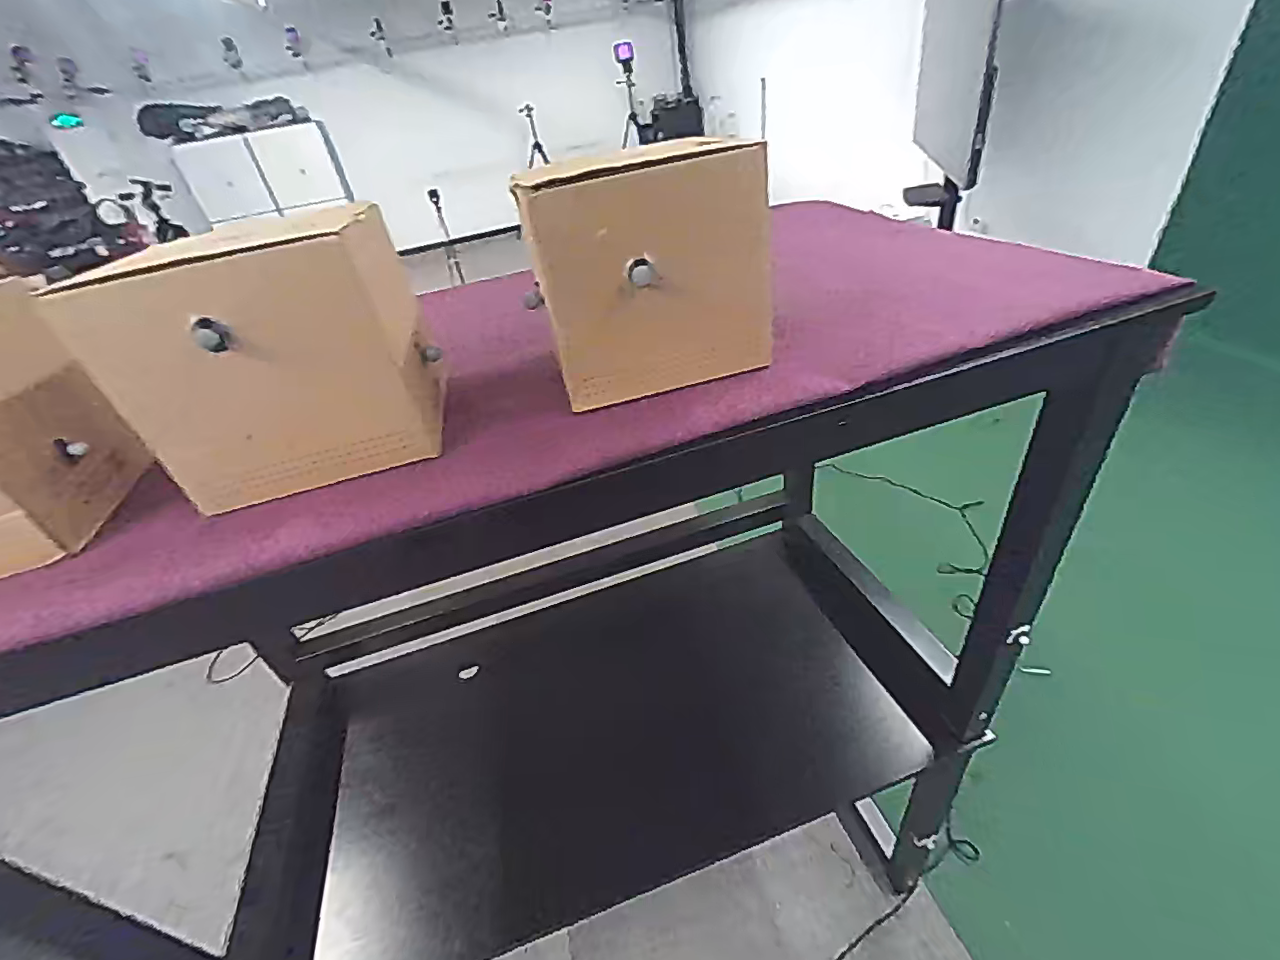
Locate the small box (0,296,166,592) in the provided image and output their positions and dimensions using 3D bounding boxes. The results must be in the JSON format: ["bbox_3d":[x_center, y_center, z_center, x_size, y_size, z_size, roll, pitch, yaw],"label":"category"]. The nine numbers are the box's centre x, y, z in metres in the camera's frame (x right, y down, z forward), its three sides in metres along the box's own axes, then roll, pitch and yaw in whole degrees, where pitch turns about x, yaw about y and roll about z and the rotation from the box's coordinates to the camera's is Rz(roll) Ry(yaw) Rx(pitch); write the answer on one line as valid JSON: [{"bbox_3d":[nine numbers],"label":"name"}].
[{"bbox_3d":[-0.521,-0.015,0.397,0.179,0.176,0.168,-18,36,-11],"label":"small box"}]

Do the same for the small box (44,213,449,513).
[{"bbox_3d":[-0.275,-0.097,0.436,0.179,0.176,0.168,-16,36,-6],"label":"small box"}]

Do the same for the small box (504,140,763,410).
[{"bbox_3d":[-0.006,-0.181,0.473,0.179,0.176,0.168,-17,36,-5],"label":"small box"}]
